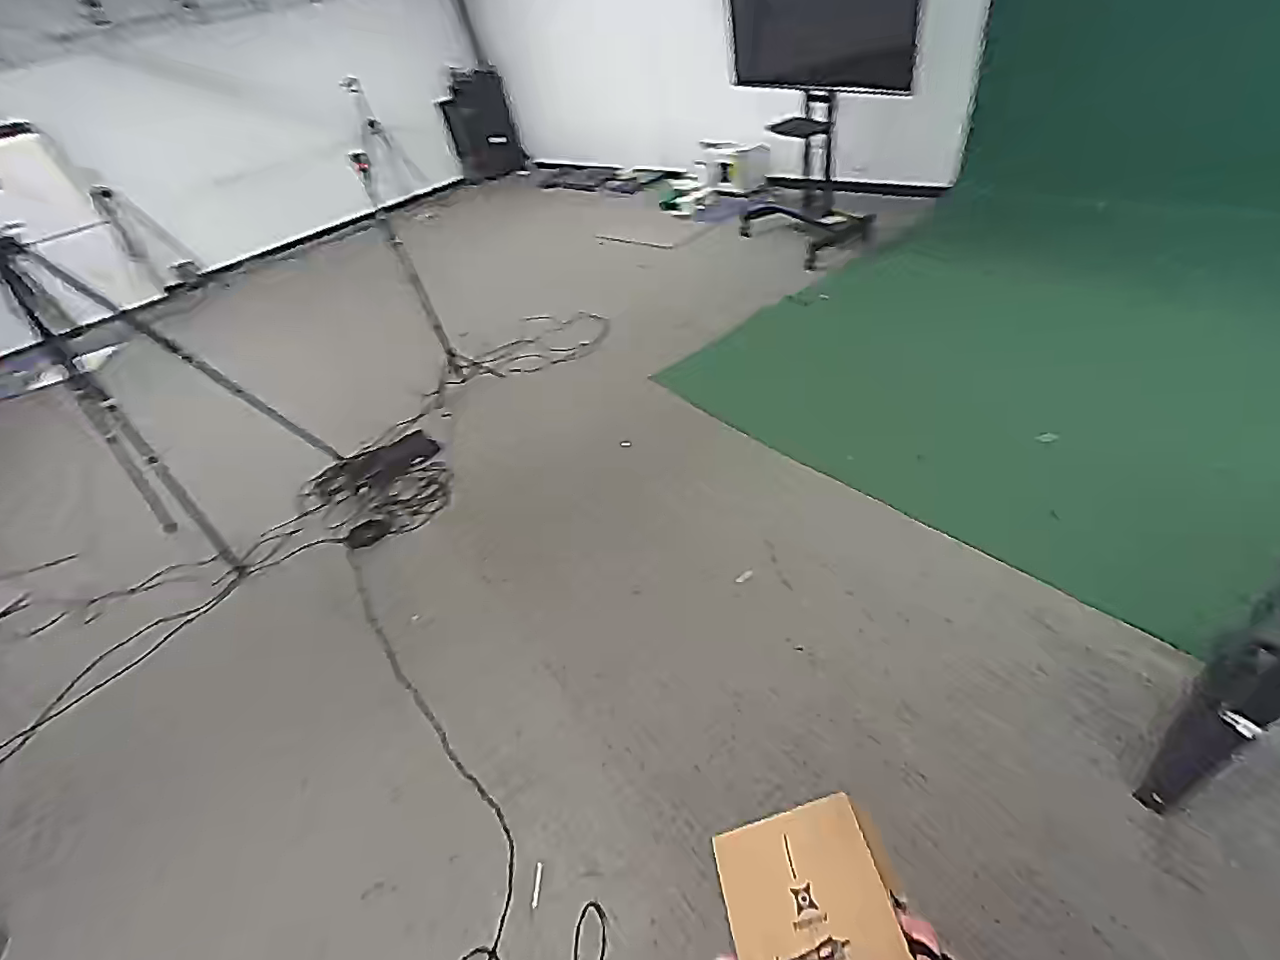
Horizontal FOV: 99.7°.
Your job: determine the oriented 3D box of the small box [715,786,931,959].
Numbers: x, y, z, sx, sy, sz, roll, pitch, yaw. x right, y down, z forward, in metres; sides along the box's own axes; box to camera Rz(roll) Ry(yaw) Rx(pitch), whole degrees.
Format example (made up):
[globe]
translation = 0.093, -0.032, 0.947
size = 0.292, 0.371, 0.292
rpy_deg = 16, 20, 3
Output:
[small box]
translation = 0.209, 0.478, 0.617
size = 0.168, 0.176, 0.179
rpy_deg = -25, 45, 13
